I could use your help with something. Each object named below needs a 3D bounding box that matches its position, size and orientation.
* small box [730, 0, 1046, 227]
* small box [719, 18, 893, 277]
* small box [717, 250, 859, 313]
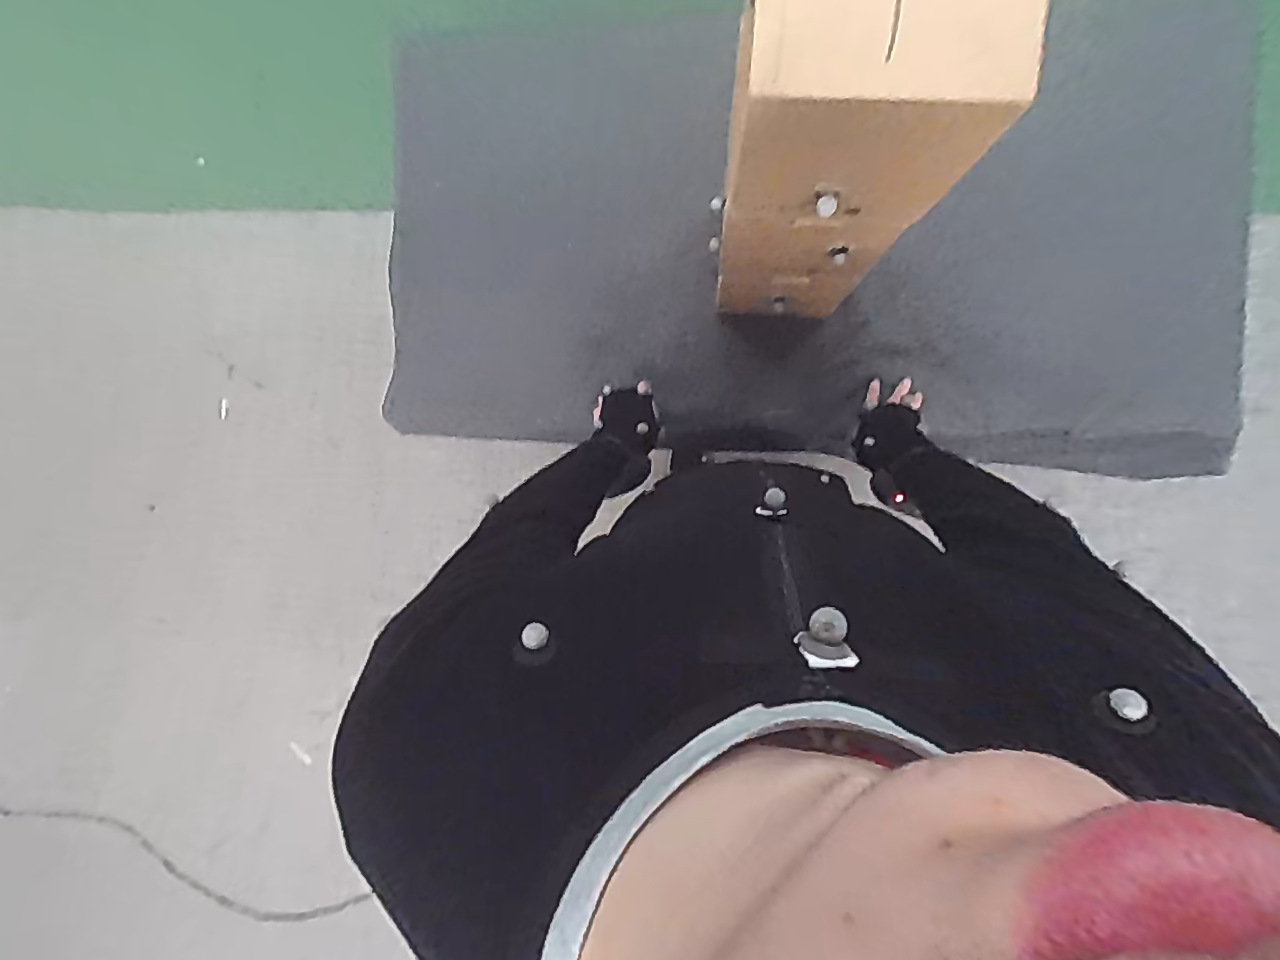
[{"bbox_3d":[0.159,-0.310,0.391,0.168,0.176,0.179,5,94,5],"label":"small box"},{"bbox_3d":[0.171,-0.321,0.554,0.168,0.176,0.179,3,92,5],"label":"small box"},{"bbox_3d":[0.192,-0.329,0.716,0.168,0.176,0.179,4,93,6],"label":"small box"}]
